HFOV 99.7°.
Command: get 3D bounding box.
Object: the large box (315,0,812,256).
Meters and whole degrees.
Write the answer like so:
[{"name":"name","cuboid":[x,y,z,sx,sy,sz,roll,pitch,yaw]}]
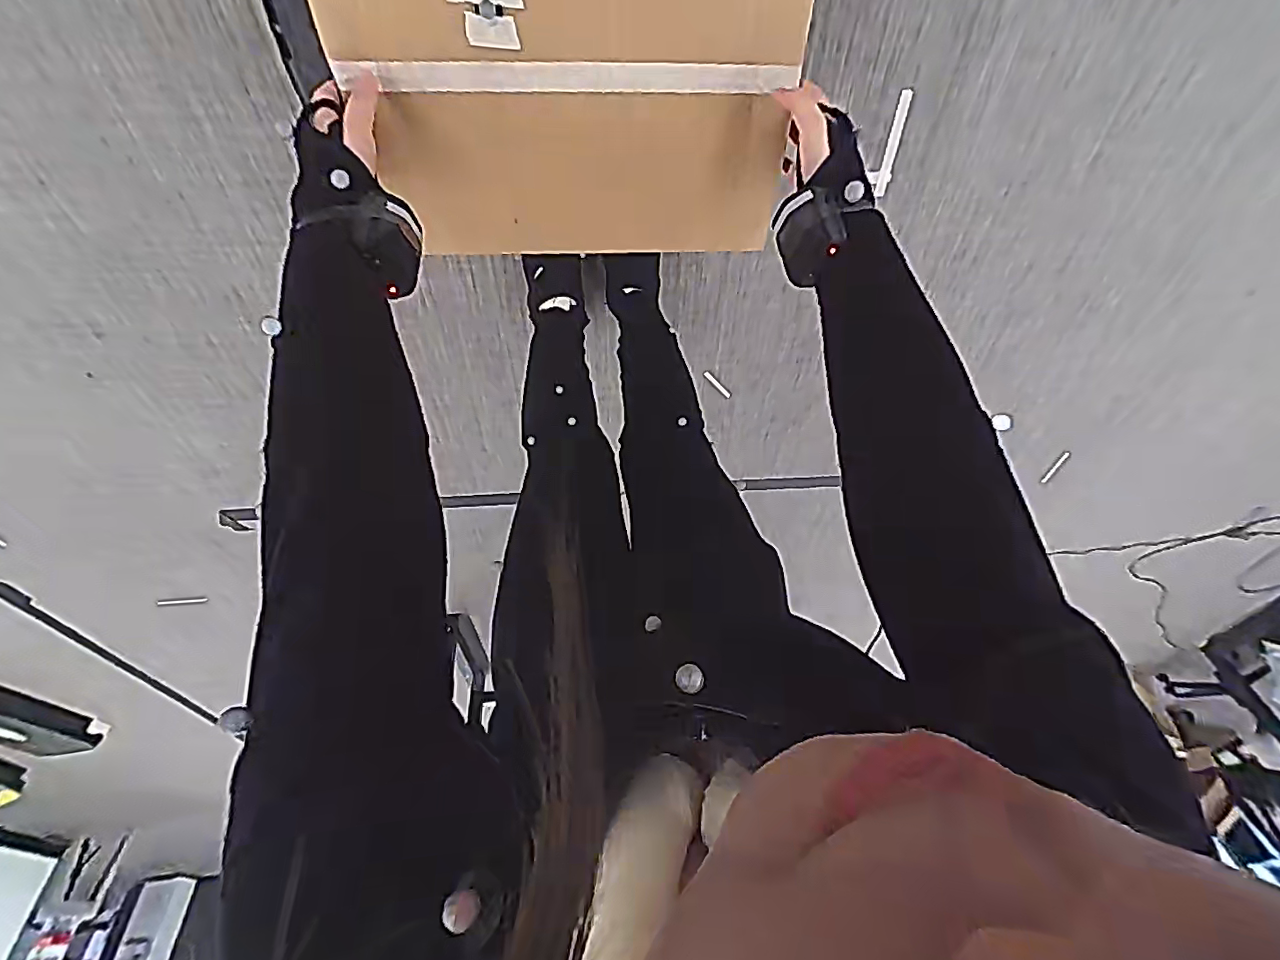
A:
[{"name":"large box","cuboid":[-0.067,-0.457,0.569,0.408,0.320,0.320,-2,136,-4]}]
